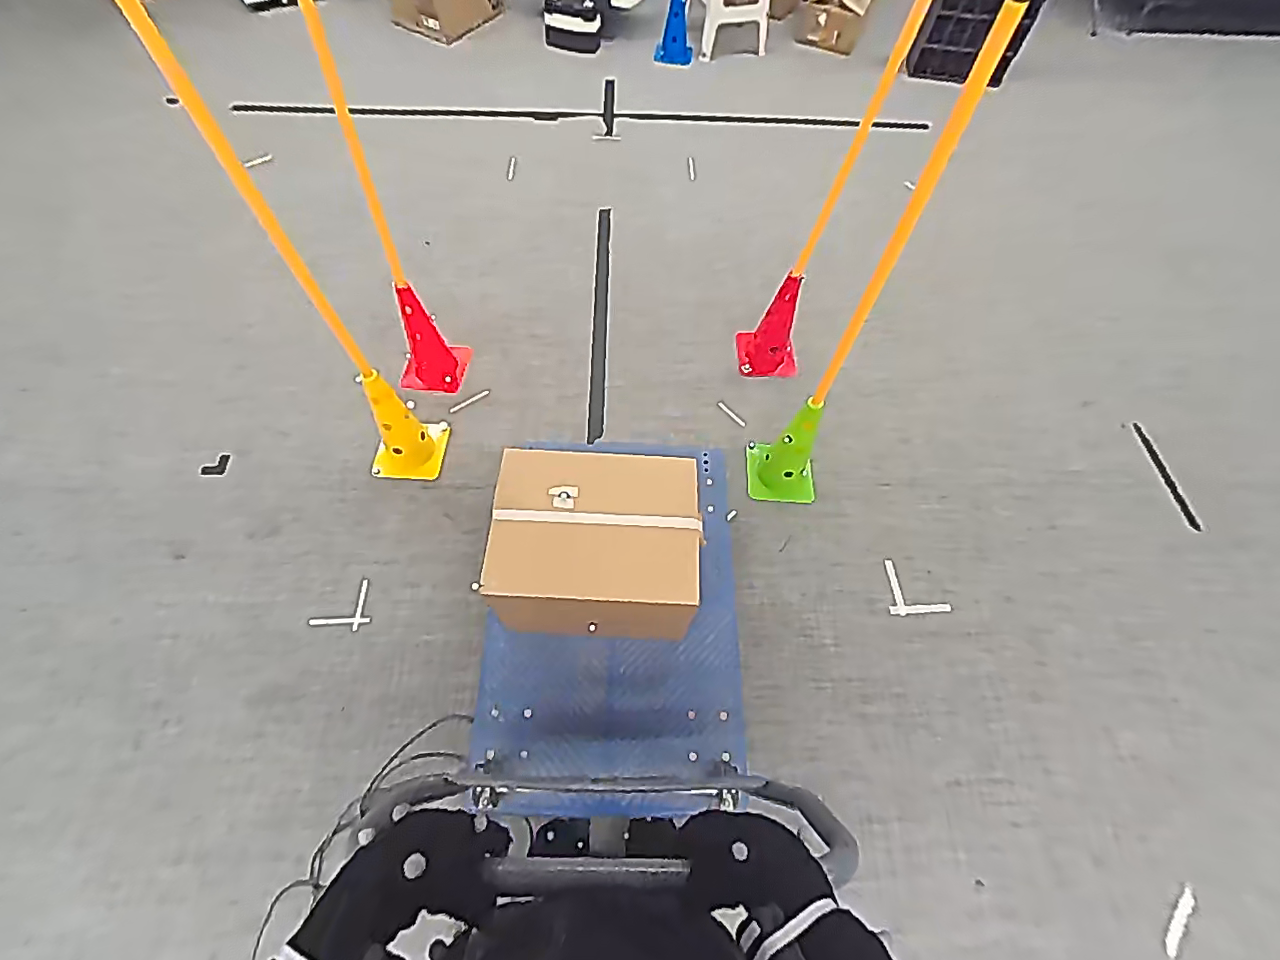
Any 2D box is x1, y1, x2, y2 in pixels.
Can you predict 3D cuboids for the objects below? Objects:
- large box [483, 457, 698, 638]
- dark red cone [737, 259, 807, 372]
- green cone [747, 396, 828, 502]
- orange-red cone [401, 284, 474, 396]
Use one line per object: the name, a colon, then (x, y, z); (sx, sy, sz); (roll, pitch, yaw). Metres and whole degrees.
large box: (-0.089, 0.161, 1.194); (0.408, 0.320, 0.320); (3, 61, 0)
dark red cone: (0.458, -0.539, 1.755); (0.201, 0.394, 0.202); (1, 61, -4)
green cone: (0.444, -0.107, 1.532); (0.202, 0.368, 0.200); (4, 61, -1)
orange-red cone: (-0.671, -0.457, 1.684); (0.198, 0.360, 0.199); (7, 59, 1)
